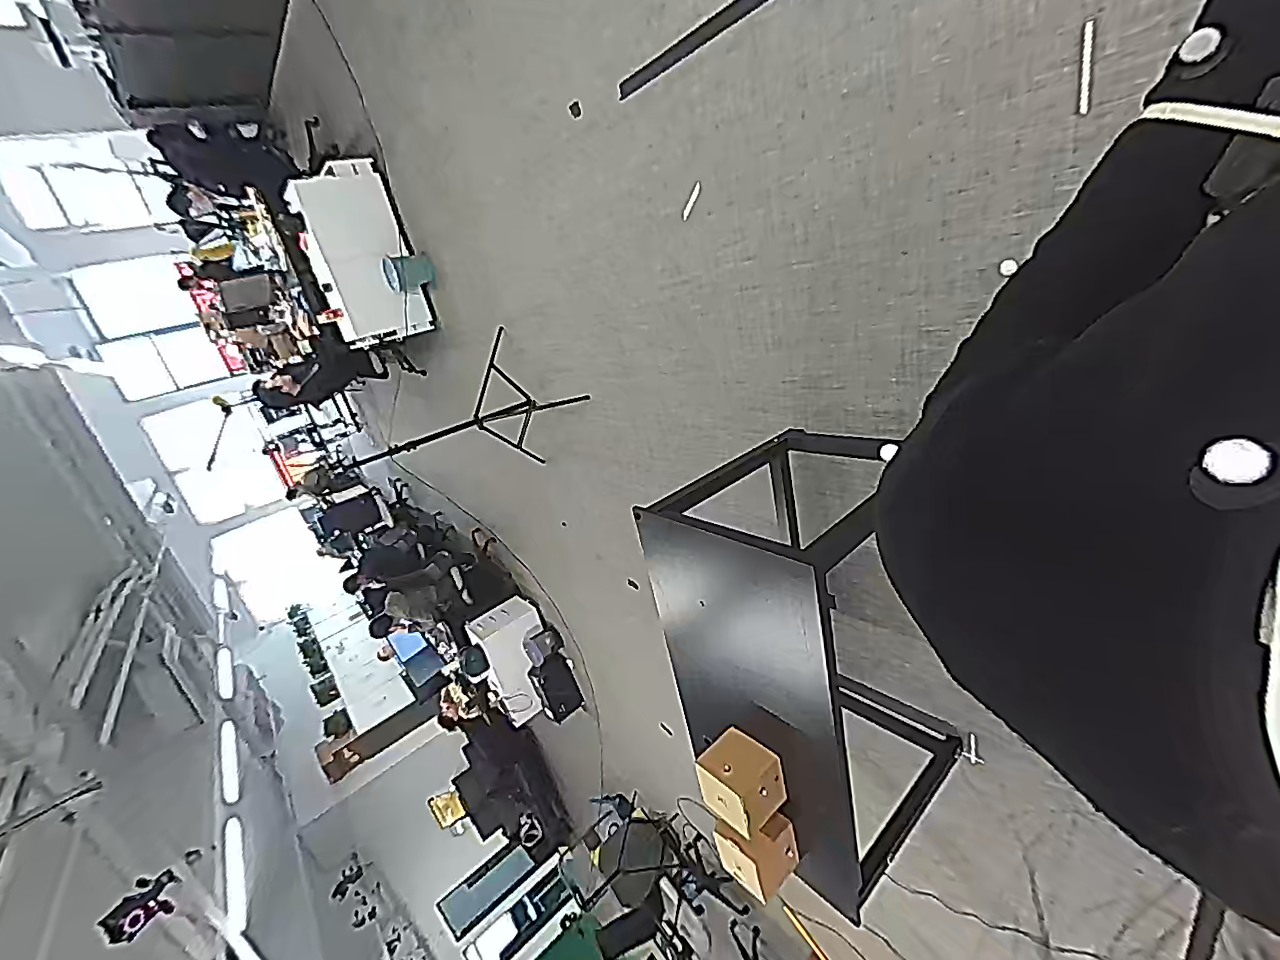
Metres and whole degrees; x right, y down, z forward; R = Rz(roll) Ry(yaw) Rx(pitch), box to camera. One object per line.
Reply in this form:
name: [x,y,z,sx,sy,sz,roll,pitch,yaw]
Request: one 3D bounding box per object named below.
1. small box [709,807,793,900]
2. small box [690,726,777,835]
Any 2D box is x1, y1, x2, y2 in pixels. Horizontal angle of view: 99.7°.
small box: [0.334,1.079,1.615,0.168,0.176,0.179,11,121,51]
small box: [0.272,0.838,1.529,0.179,0.176,0.168,14,123,51]
